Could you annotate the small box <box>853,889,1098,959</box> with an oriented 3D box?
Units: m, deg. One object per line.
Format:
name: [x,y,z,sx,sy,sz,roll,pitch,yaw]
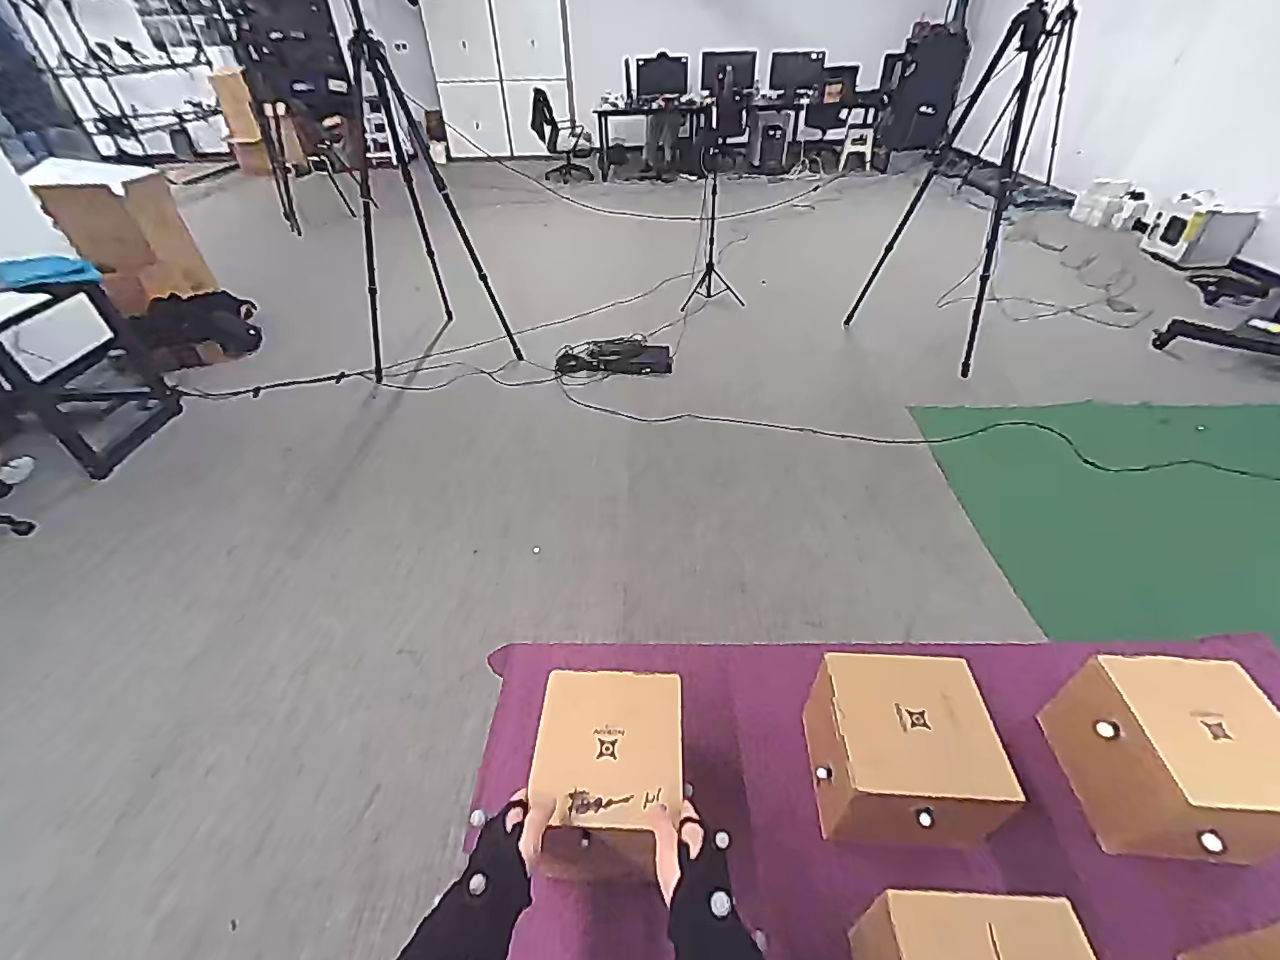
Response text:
small box: [0.305,0.495,0.478,0.168,0.176,0.179,0,39,4]

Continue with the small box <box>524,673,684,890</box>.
small box: [-0.031,0.361,0.655,0.168,0.176,0.179,0,38,4]

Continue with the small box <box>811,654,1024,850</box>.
small box: [0.318,0.336,0.670,0.179,0.176,0.168,1,41,4]

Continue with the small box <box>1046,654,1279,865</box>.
small box: [0.645,0.335,0.651,0.168,0.176,0.179,1,39,5]
